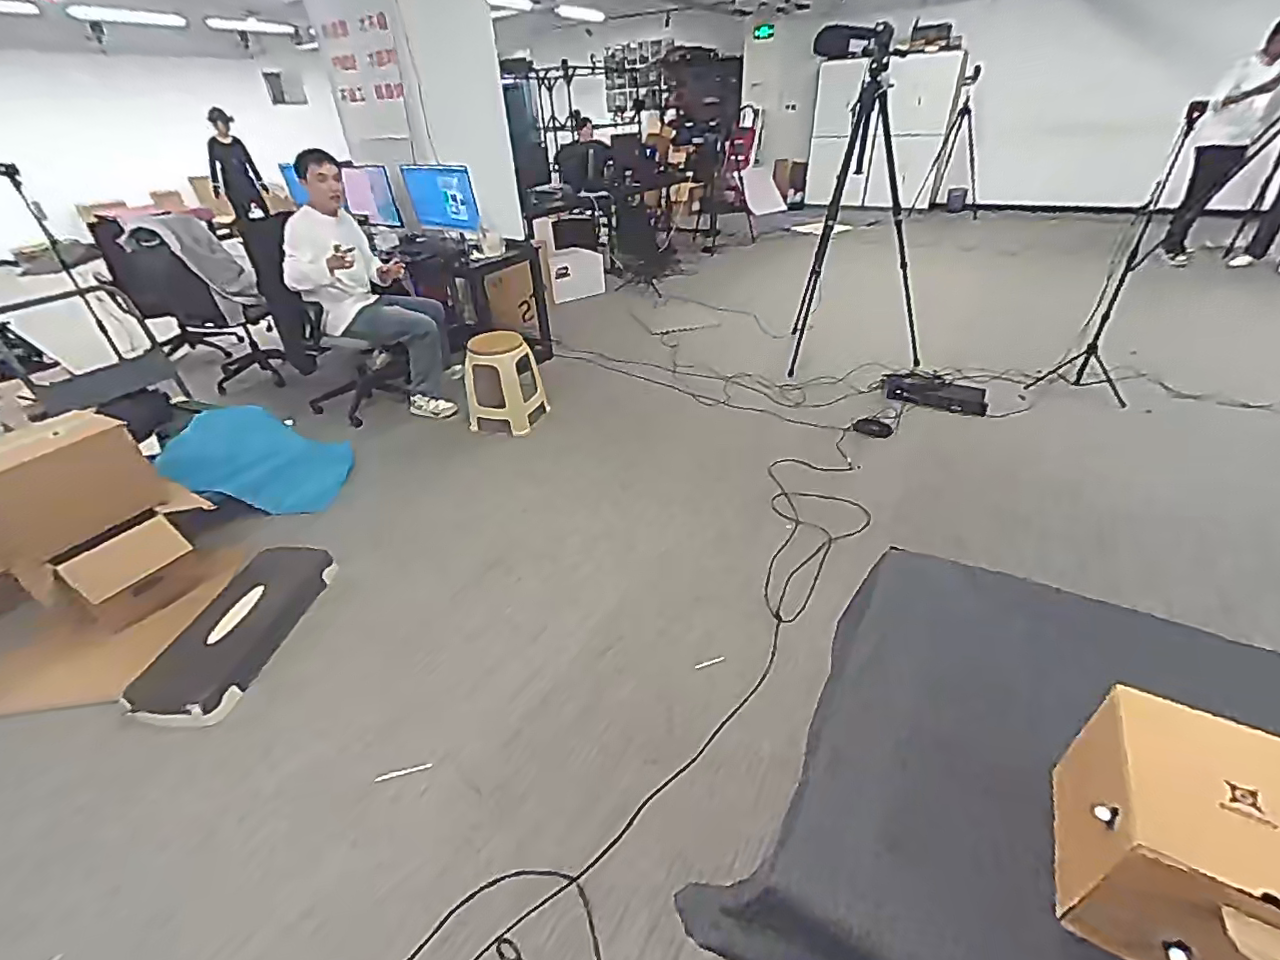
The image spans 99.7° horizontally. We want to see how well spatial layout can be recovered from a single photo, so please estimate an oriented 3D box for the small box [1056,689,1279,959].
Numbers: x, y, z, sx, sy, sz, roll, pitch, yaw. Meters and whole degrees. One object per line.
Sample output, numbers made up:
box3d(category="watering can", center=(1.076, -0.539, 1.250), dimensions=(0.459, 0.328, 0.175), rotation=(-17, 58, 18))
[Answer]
box3d(category="small box", center=(0.520, 0.344, 0.508), dimensions=(0.168, 0.176, 0.179), rotation=(17, 39, 26))
